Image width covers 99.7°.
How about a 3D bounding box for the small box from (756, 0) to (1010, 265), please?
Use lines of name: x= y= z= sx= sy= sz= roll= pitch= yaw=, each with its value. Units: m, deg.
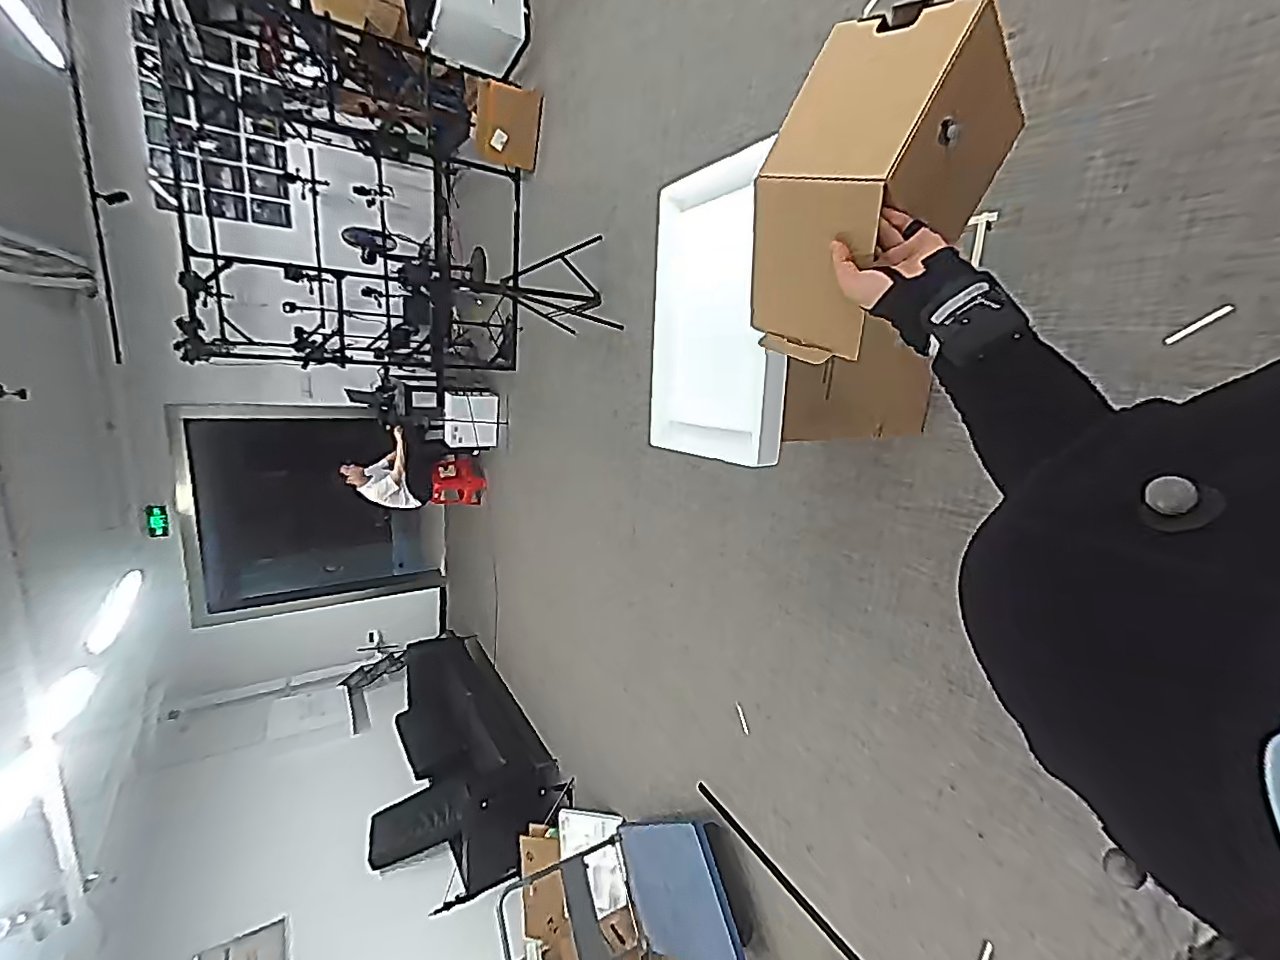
small box: x=0.268 y=-0.362 z=0.593 sx=0.168 sy=0.176 sz=0.179 roll=36 pitch=102 yaw=45
